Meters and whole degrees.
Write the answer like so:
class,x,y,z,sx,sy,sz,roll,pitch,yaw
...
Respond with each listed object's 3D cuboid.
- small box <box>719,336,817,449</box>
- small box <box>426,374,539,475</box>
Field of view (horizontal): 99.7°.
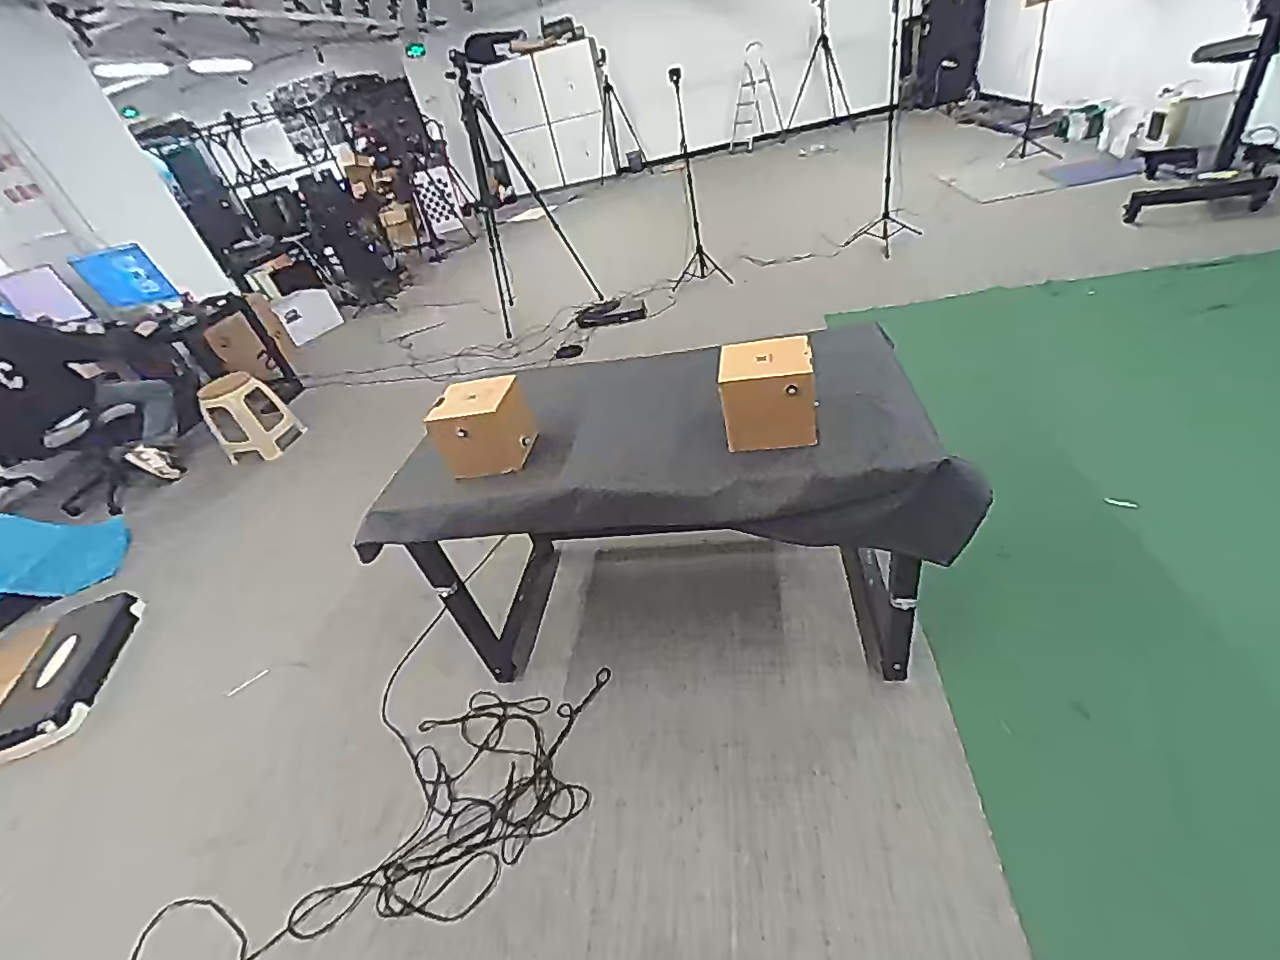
class,x,y,z,sx,sy,sz,roll,pitch,yaw
small box,0.264,-0.175,1.108,0.179,0.176,0.168,-4,38,15
small box,-0.357,-0.125,1.262,0.179,0.176,0.168,-5,39,12
